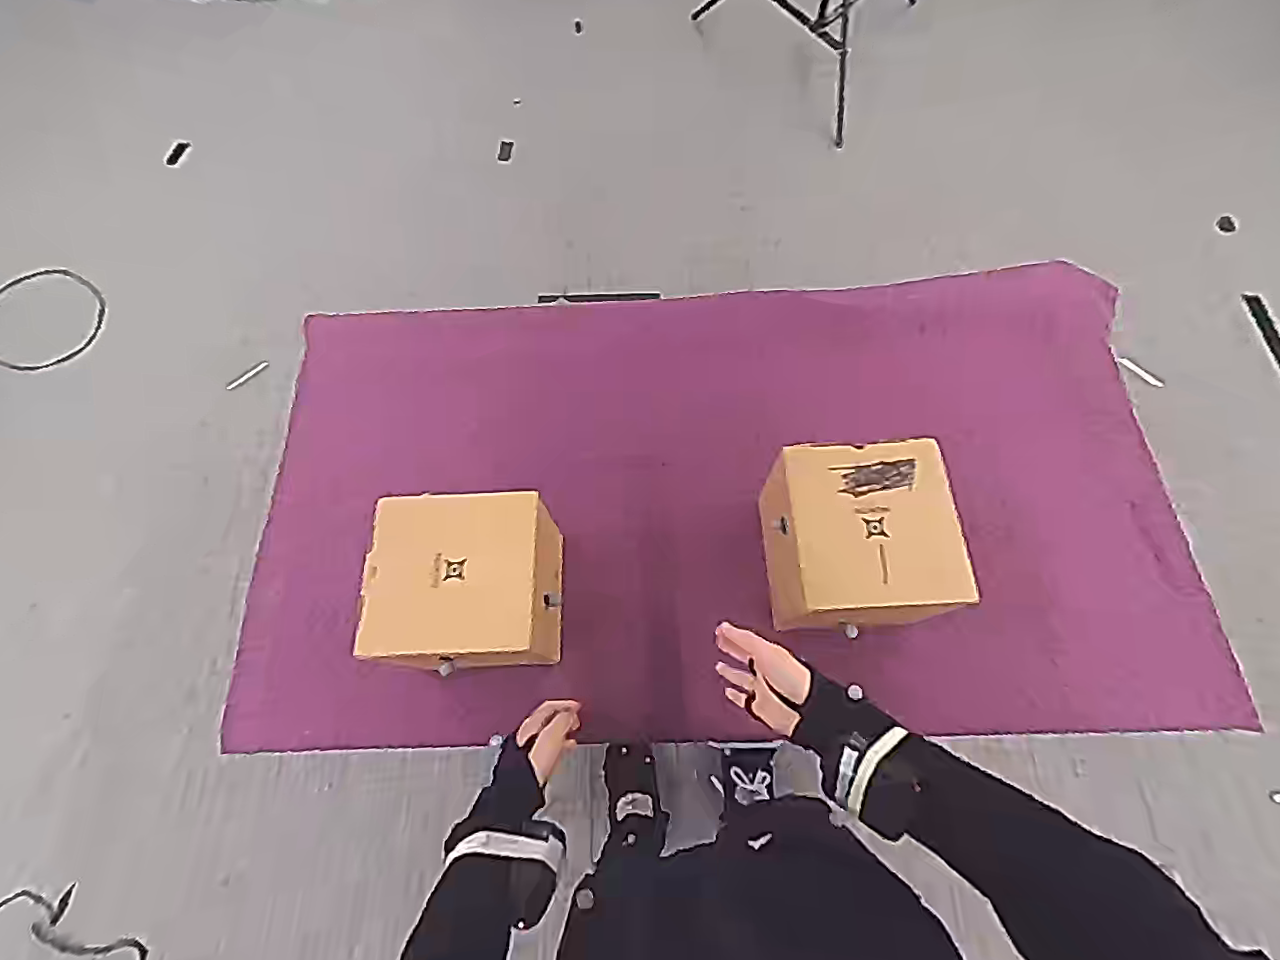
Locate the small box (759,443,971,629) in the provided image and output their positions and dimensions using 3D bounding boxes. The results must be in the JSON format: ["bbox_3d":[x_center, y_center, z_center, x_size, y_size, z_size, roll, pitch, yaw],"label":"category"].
[{"bbox_3d":[0.239,0.072,0.626,0.168,0.176,0.179,-3,69,2],"label":"small box"}]

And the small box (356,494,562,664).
[{"bbox_3d":[-0.190,0.122,0.628,0.179,0.176,0.168,-3,68,2],"label":"small box"}]
